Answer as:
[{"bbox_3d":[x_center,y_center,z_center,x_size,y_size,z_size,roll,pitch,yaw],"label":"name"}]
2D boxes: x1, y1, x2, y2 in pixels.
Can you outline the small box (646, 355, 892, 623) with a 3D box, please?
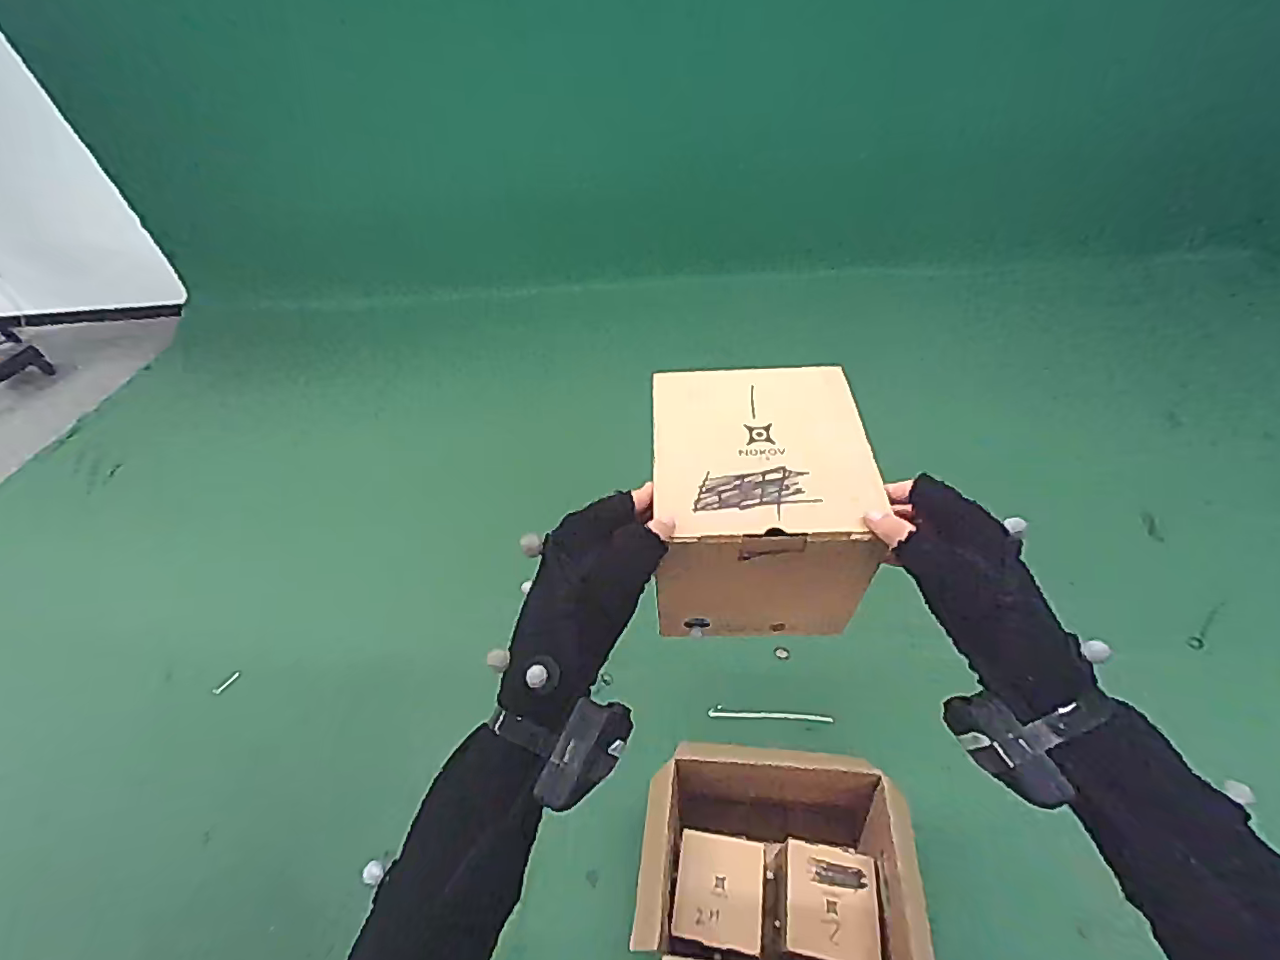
[{"bbox_3d":[0.093,0.014,0.472,0.168,0.176,0.179,-1,51,3],"label":"small box"}]
